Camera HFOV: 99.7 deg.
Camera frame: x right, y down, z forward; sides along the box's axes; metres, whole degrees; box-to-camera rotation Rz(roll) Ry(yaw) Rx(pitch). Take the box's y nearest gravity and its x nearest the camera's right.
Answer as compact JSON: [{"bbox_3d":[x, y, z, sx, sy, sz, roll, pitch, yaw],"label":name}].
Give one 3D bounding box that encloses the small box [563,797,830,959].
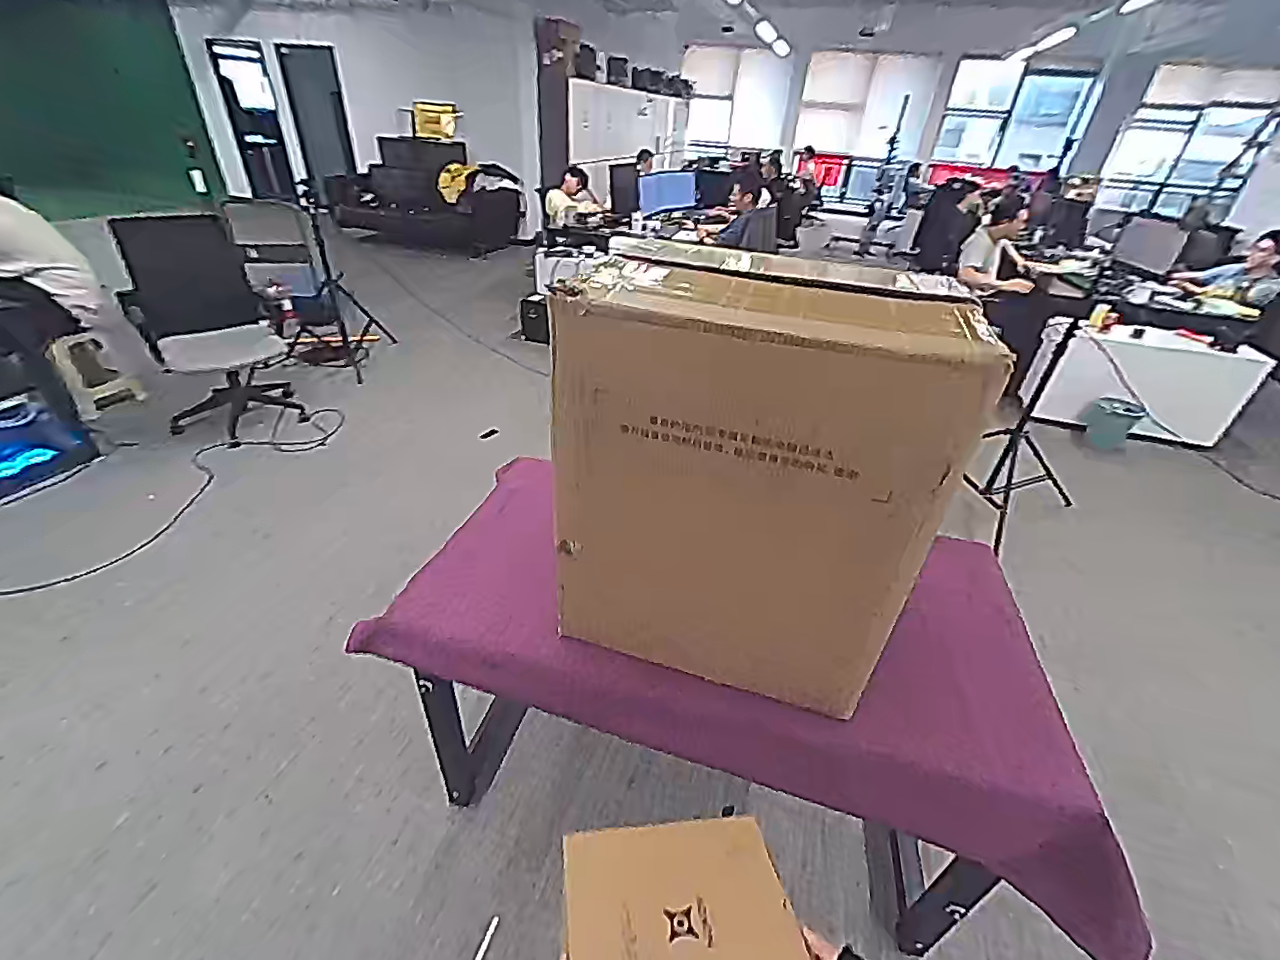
[{"bbox_3d":[0.031,0.387,0.421,0.179,0.176,0.168,0,17,-10],"label":"small box"}]
